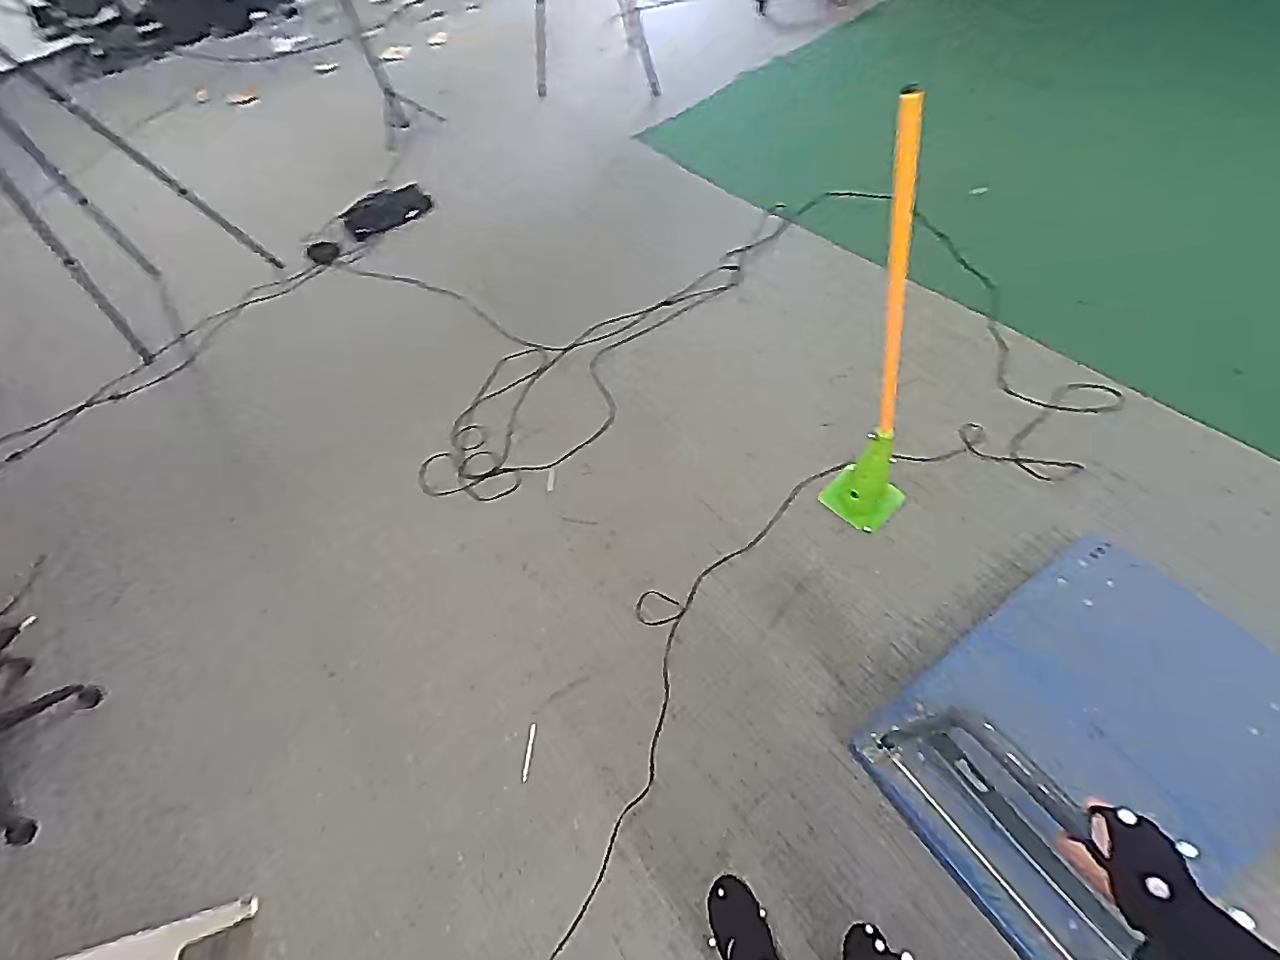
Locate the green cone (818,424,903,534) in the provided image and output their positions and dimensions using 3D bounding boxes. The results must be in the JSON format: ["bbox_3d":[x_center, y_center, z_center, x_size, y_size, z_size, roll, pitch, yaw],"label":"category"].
[{"bbox_3d":[0.675,-0.036,1.585,0.200,0.368,0.202,-41,58,-16],"label":"green cone"}]
